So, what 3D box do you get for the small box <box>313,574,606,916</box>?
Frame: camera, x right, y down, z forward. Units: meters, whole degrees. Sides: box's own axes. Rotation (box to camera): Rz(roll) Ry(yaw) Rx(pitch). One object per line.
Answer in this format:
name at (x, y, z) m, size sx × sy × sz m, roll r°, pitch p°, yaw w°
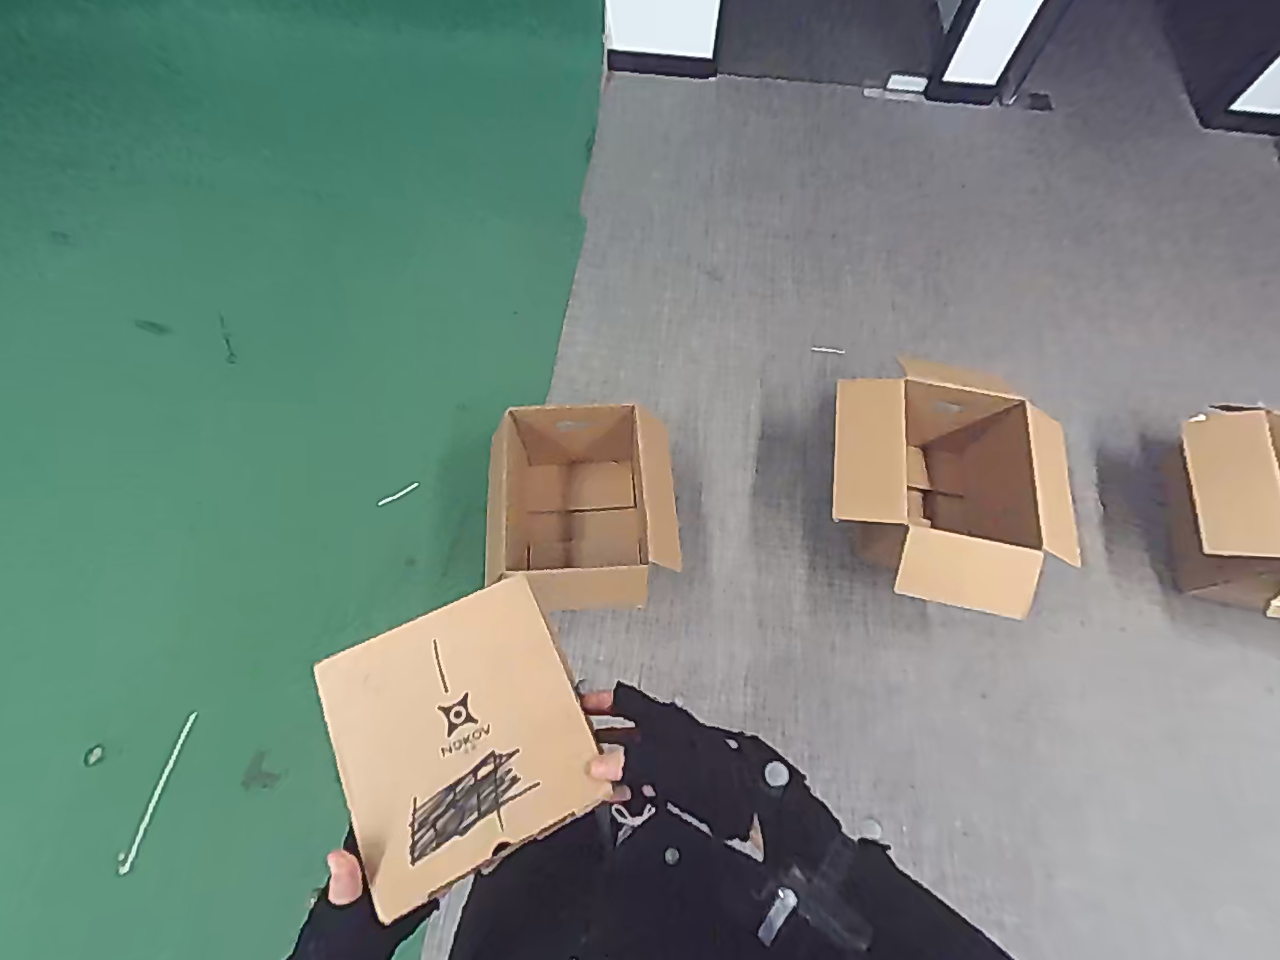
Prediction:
small box at (-0.135, 0.206, 0.461) m, size 0.168 × 0.176 × 0.179 m, roll -24°, pitch 71°, yaw -13°
